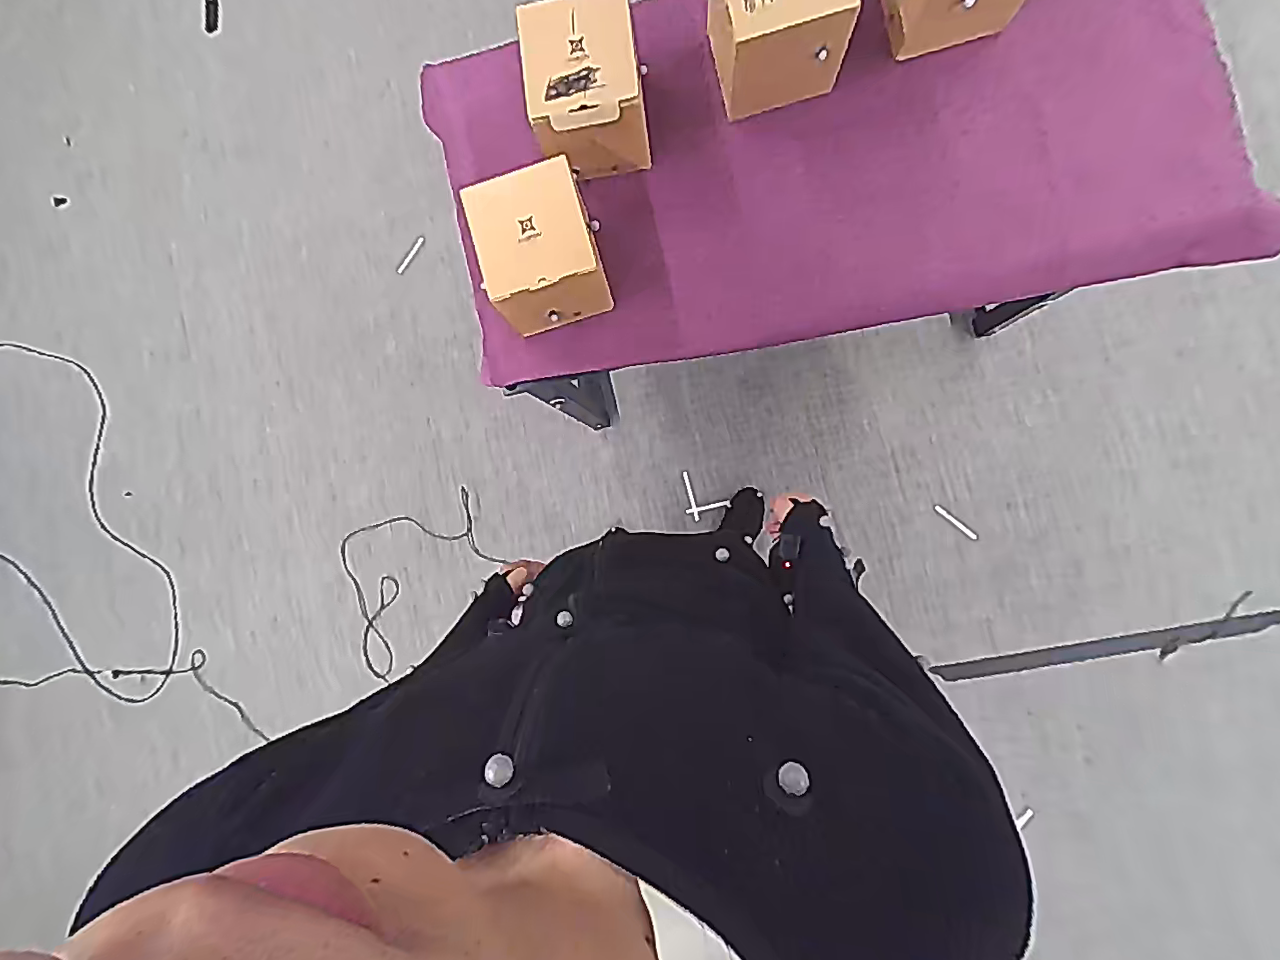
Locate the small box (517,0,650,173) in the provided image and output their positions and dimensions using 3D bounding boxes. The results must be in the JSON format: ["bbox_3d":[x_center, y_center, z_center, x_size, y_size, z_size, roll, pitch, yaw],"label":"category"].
[{"bbox_3d":[-0.079,-0.612,0.848,0.168,0.176,0.179,-7,89,6],"label":"small box"}]

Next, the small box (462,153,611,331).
[{"bbox_3d":[-0.152,-0.361,0.851,0.168,0.176,0.179,-17,88,4],"label":"small box"}]
